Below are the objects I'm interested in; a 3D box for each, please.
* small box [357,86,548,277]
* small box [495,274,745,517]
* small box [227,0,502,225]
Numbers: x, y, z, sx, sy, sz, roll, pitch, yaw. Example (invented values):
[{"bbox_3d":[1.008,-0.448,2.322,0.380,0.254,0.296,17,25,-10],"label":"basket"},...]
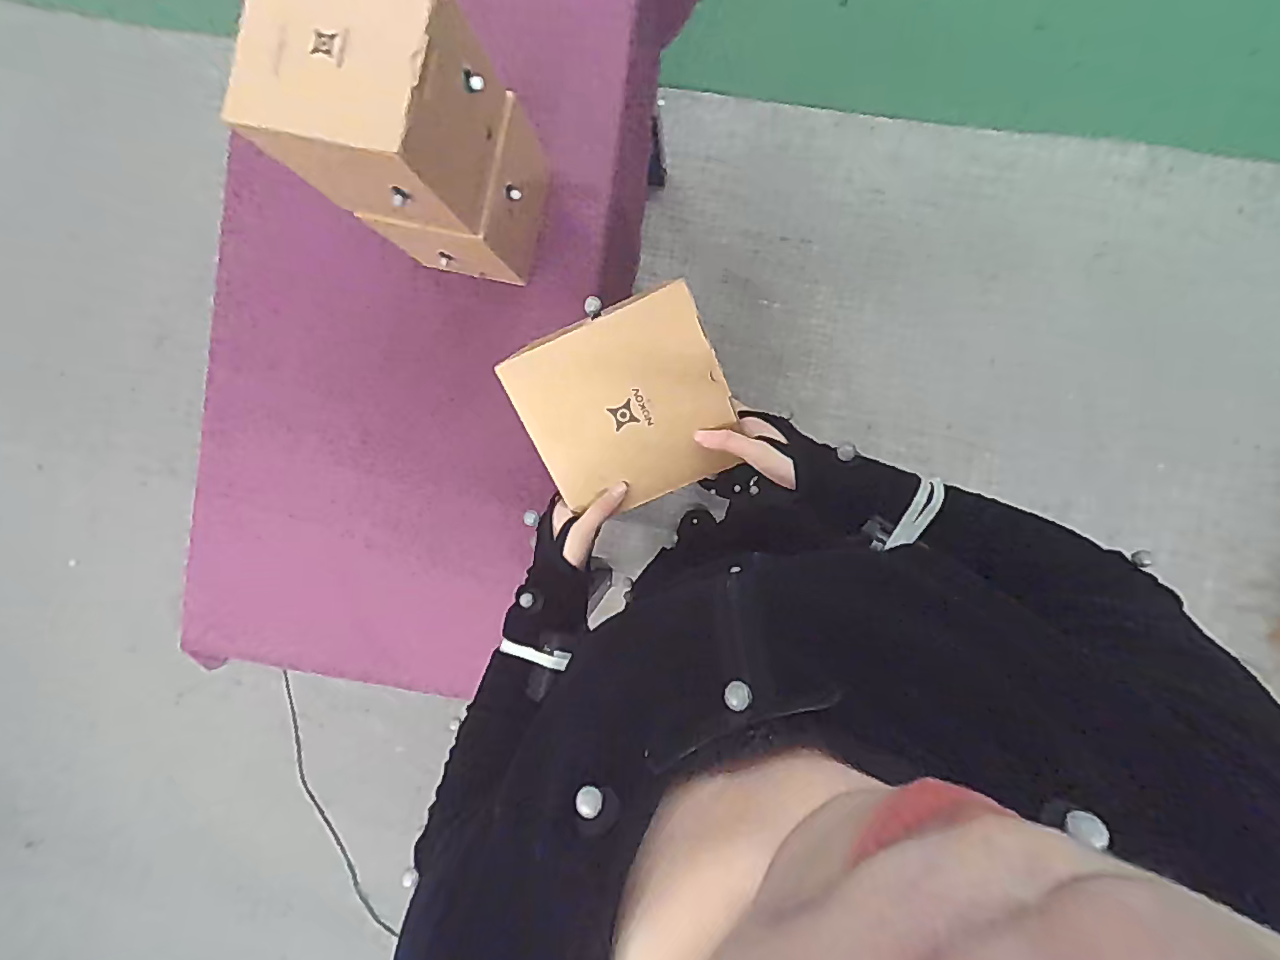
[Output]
[{"bbox_3d":[-0.235,-0.390,0.717,0.168,0.176,0.179,14,93,6],"label":"small box"},{"bbox_3d":[-0.014,-0.090,0.544,0.179,0.176,0.168,-22,108,7],"label":"small box"},{"bbox_3d":[-0.263,-0.388,0.556,0.179,0.176,0.168,15,93,7],"label":"small box"}]
